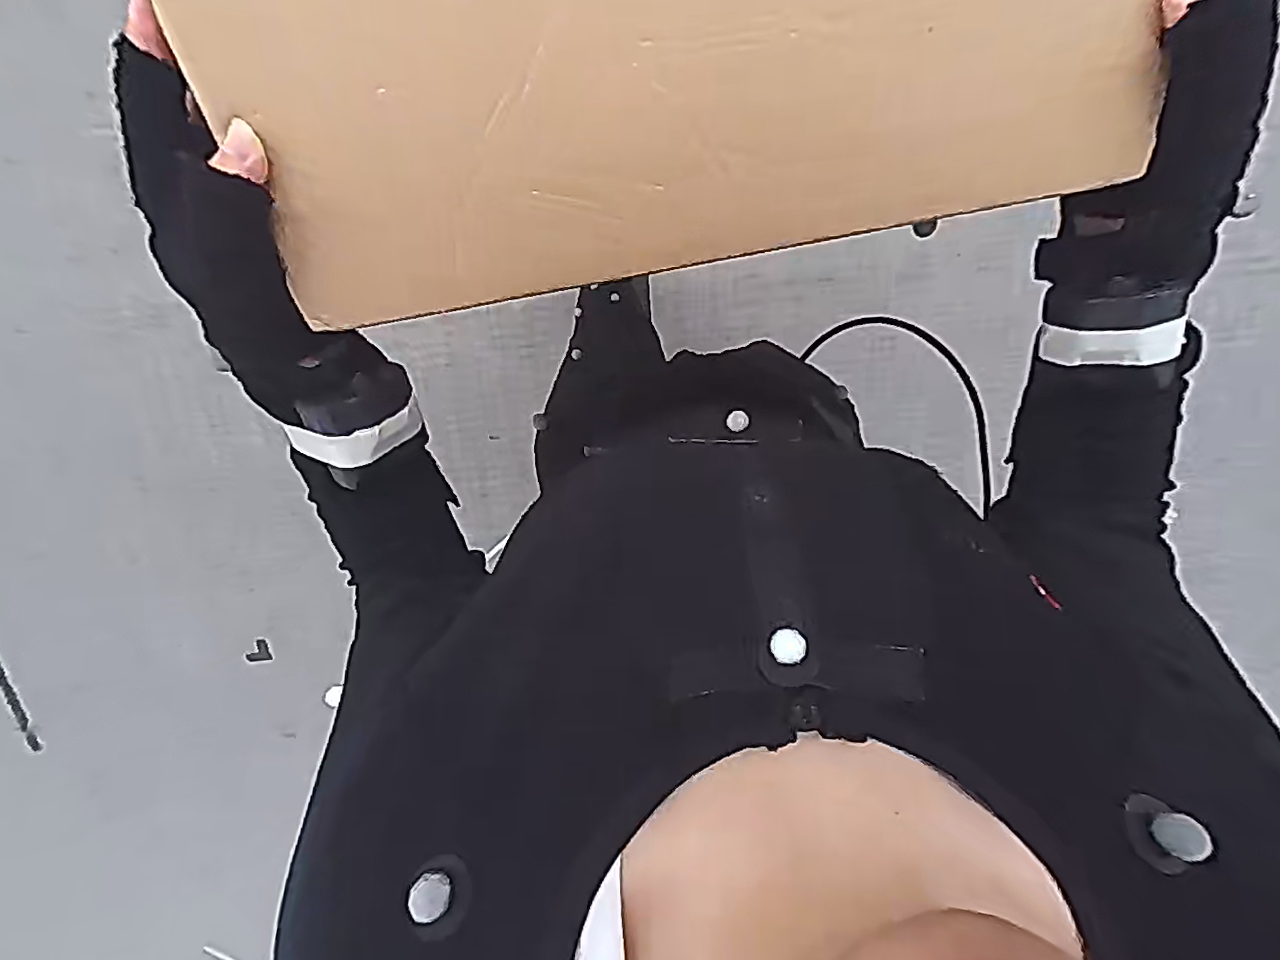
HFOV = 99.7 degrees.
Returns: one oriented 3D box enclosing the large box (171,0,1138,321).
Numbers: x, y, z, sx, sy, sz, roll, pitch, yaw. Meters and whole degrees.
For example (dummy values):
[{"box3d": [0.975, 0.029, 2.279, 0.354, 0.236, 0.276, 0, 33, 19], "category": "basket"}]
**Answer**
[{"box3d": [-0.002, -0.322, 0.325, 0.408, 0.320, 0.320, -10, 119, 3], "category": "large box"}]
